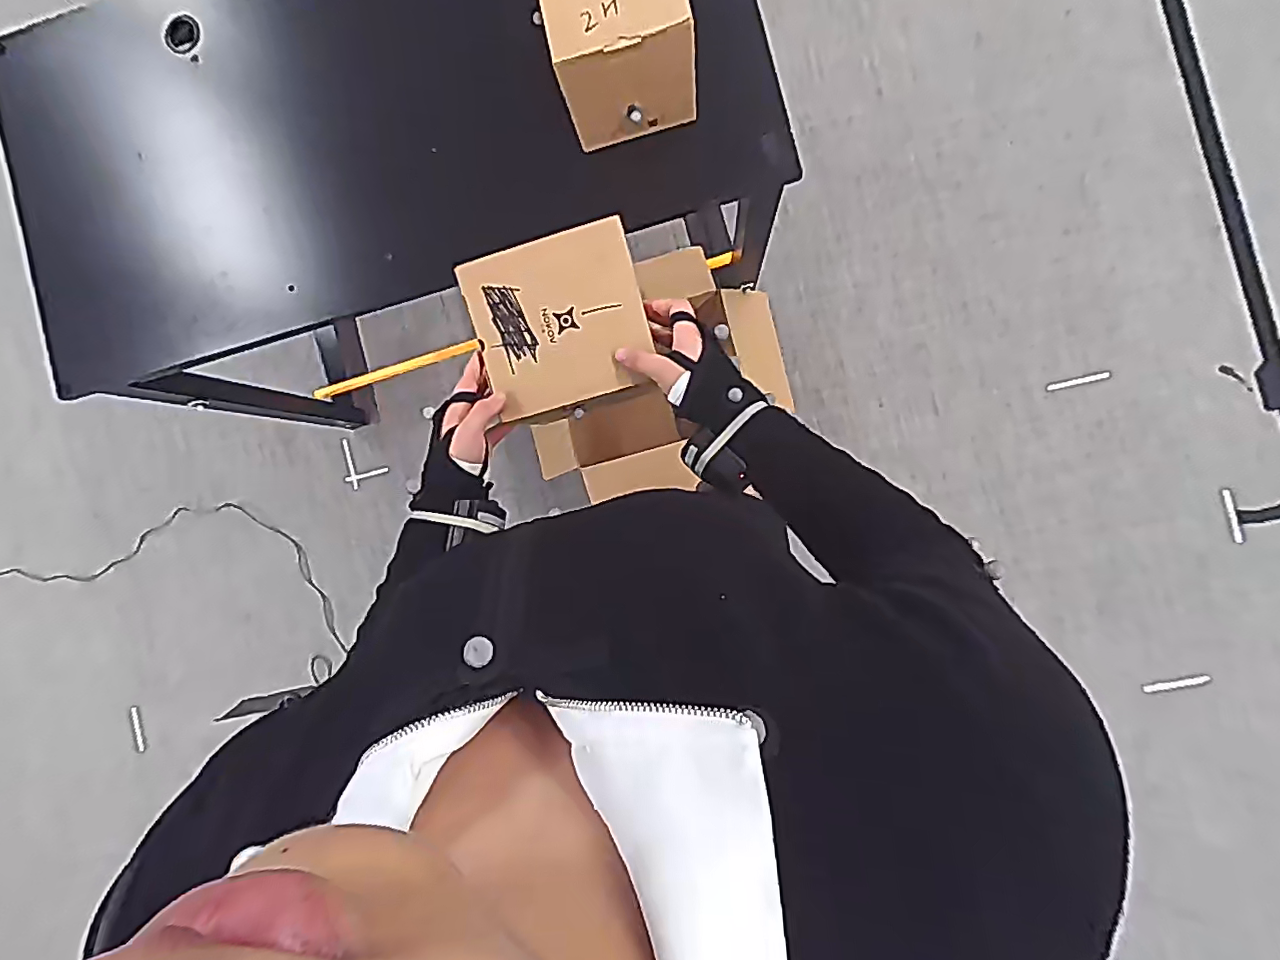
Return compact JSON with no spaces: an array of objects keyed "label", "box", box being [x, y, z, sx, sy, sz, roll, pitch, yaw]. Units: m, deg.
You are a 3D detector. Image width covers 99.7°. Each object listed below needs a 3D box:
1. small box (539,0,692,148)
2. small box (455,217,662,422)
[{"label":"small box","box":[-0.030,-0.573,0.689,0.168,0.176,0.179,-12,88,7]},{"label":"small box","box":[-0.078,-0.164,0.618,0.179,0.176,0.168,-15,95,5]}]
